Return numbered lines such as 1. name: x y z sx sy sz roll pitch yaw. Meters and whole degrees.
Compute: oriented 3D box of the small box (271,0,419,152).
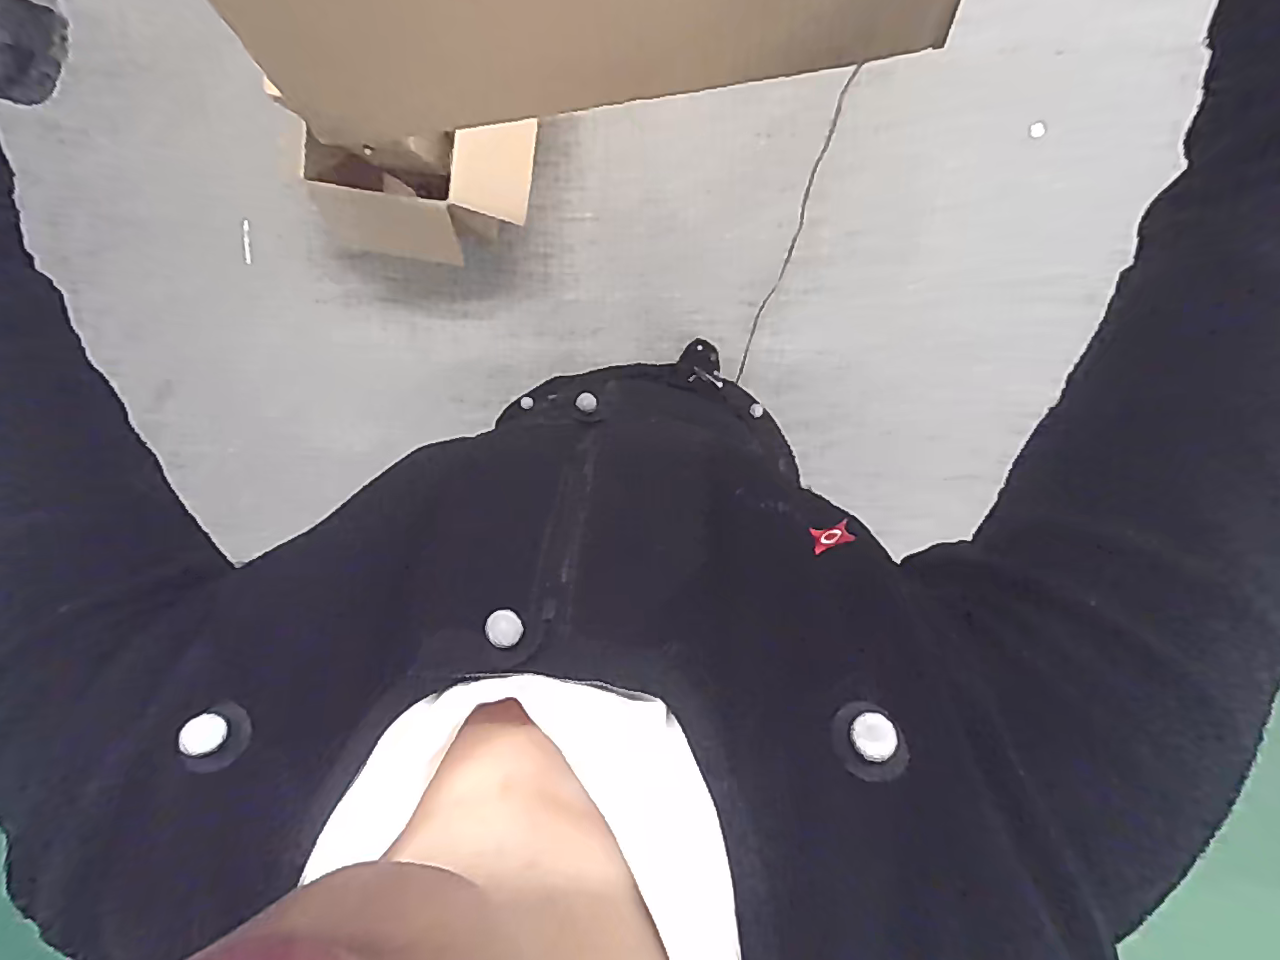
1. small box: -0.499 -0.696 0.934 0.168 0.176 0.179 8 102 1
